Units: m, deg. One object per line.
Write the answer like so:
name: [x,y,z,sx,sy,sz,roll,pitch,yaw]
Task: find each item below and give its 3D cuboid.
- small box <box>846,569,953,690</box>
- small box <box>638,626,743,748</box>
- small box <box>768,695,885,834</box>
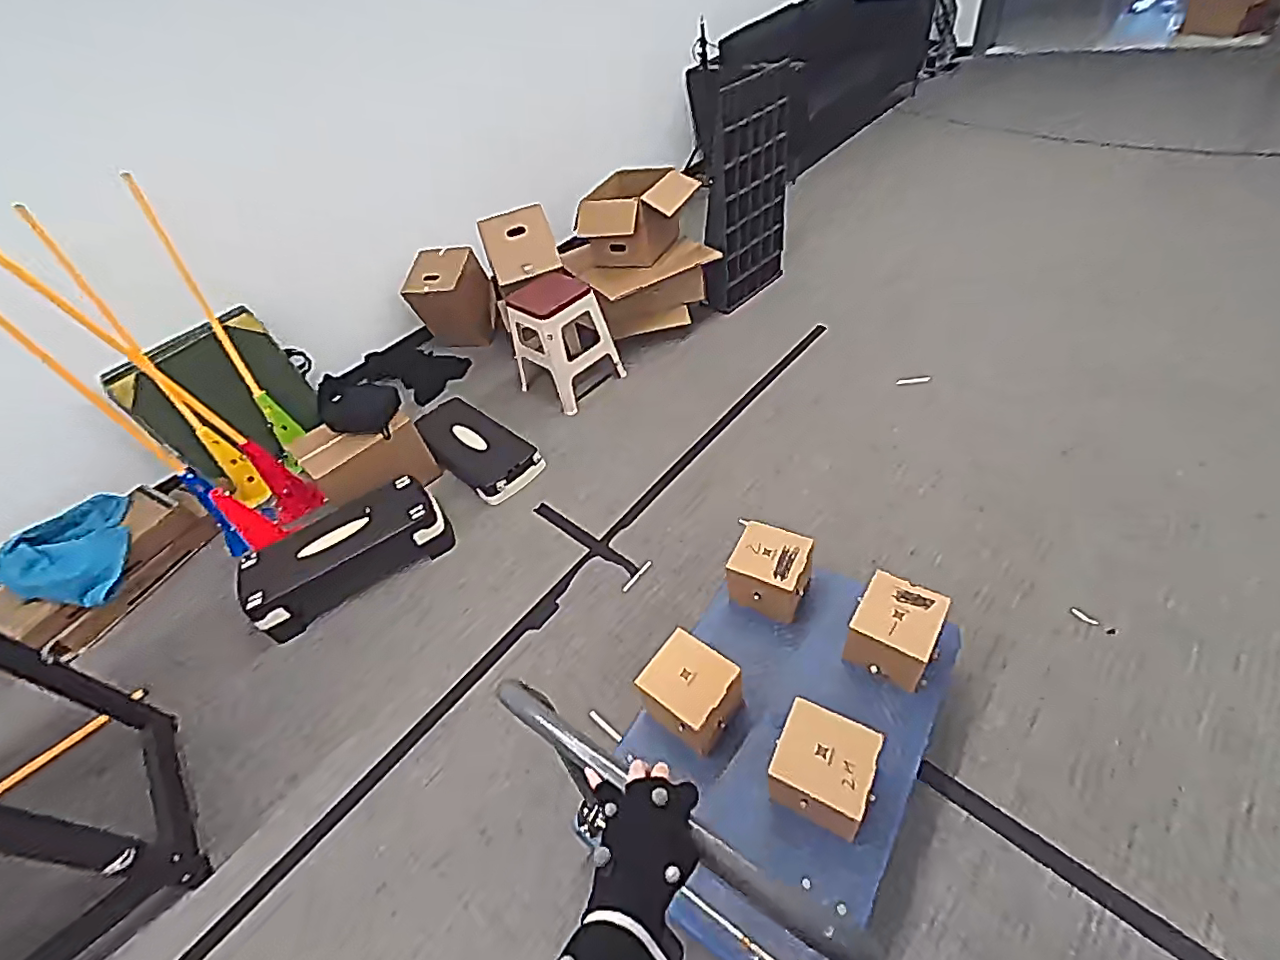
small box: [0.594,0.347,1.255,0.168,0.176,0.179,23,57,30]
small box: [0.119,0.478,1.239,0.179,0.176,0.168,28,57,31]
small box: [0.369,0.574,1.088,0.179,0.176,0.168,18,53,27]
